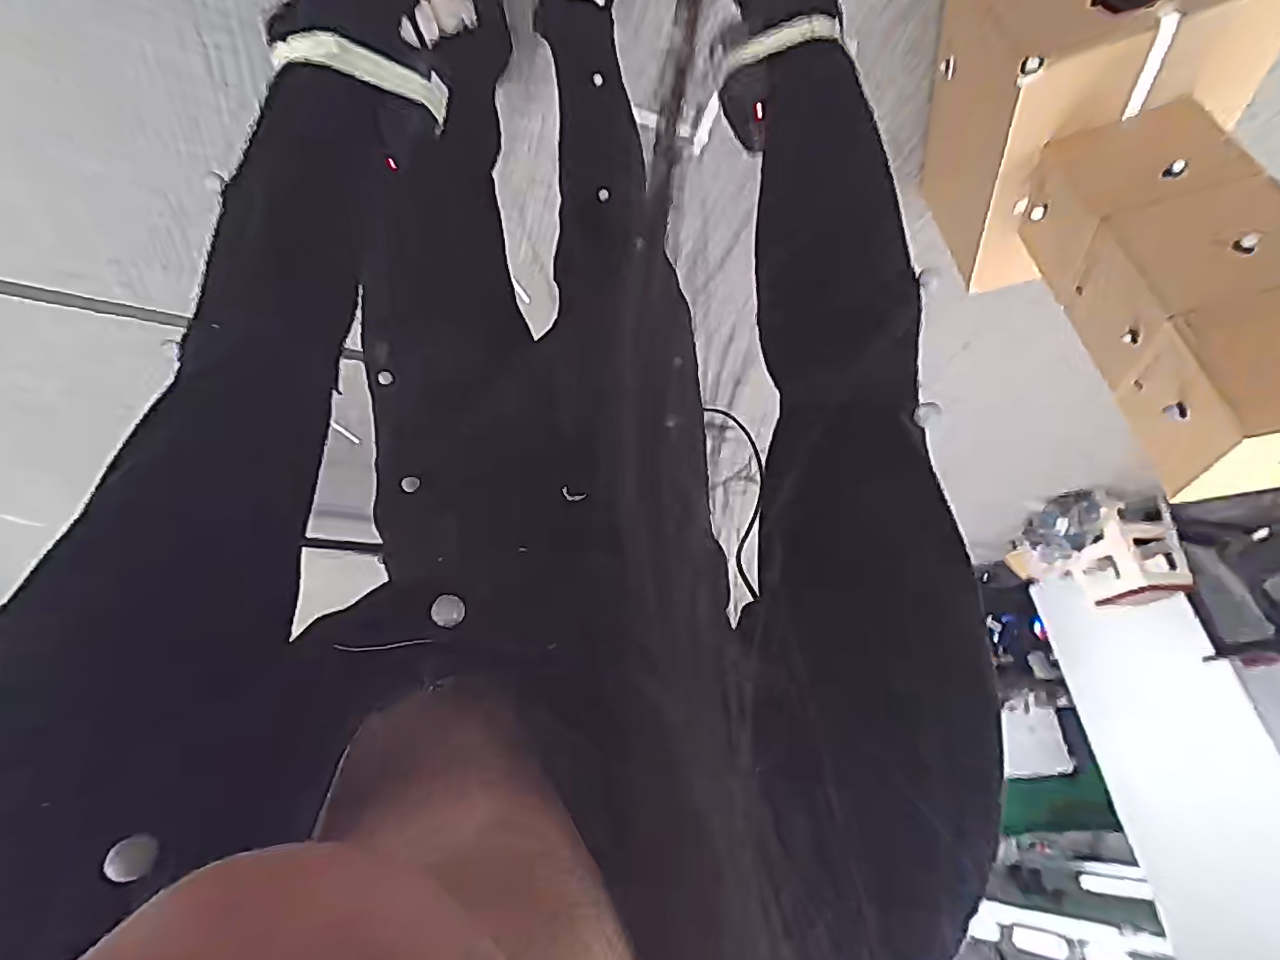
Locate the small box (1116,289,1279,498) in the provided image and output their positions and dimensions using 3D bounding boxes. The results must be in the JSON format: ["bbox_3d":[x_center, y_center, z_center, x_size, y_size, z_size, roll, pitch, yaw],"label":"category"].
[{"bbox_3d":[0.707,-0.101,0.620,0.179,0.176,0.168,-13,150,16],"label":"small box"}]

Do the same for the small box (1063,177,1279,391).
[{"bbox_3d":[0.699,-0.247,0.693,0.179,0.176,0.168,-13,150,15],"label":"small box"}]

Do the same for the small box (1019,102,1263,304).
[{"bbox_3d":[0.686,-0.390,0.772,0.179,0.176,0.168,-12,151,16],"label":"small box"}]
